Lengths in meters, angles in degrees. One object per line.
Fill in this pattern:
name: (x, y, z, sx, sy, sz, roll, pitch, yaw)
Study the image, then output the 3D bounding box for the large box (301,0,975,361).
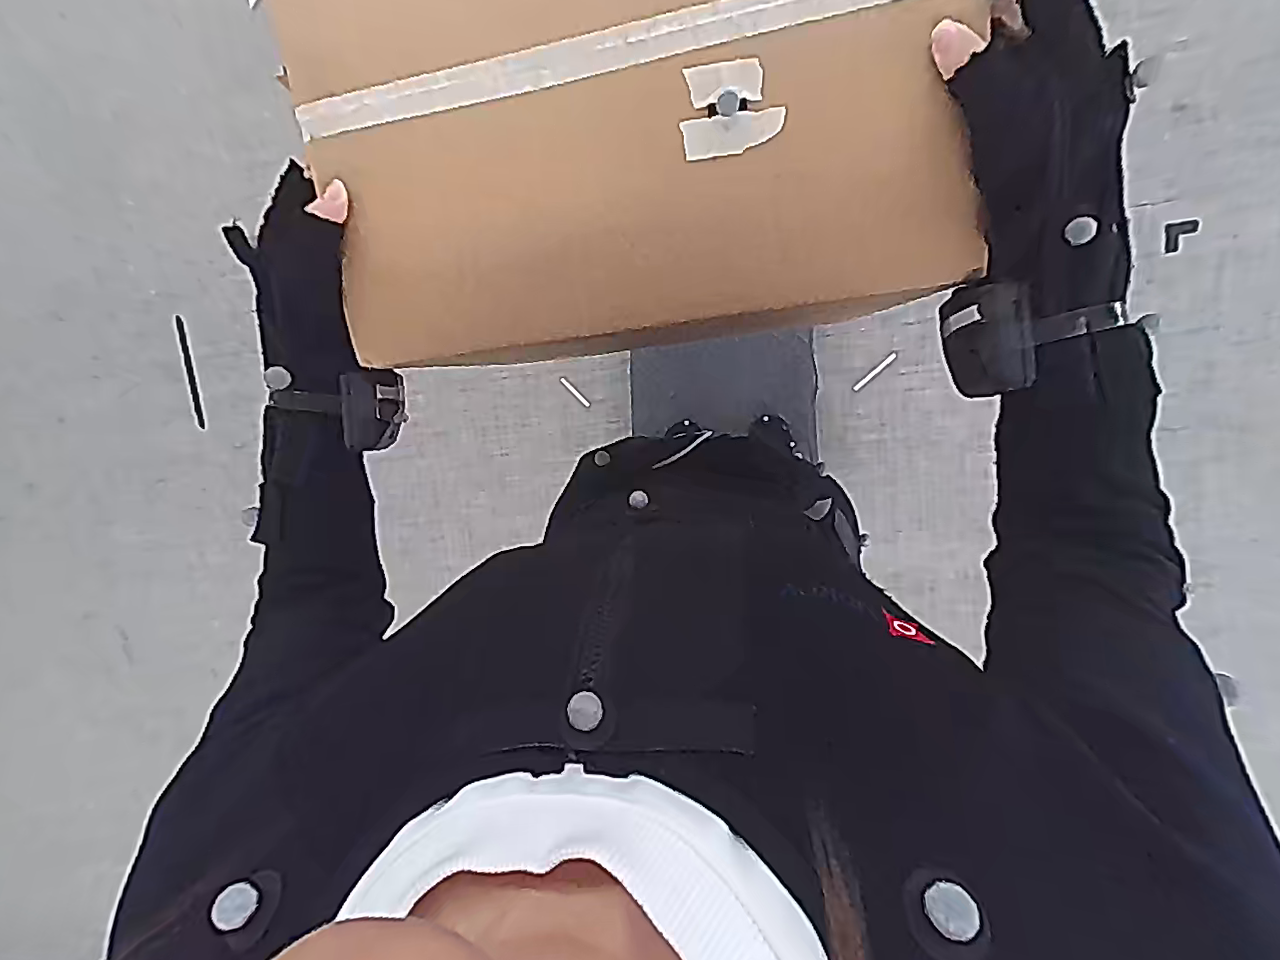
large box: (0.006, -0.288, 0.474, 0.408, 0.320, 0.320, -6, 102, 9)
